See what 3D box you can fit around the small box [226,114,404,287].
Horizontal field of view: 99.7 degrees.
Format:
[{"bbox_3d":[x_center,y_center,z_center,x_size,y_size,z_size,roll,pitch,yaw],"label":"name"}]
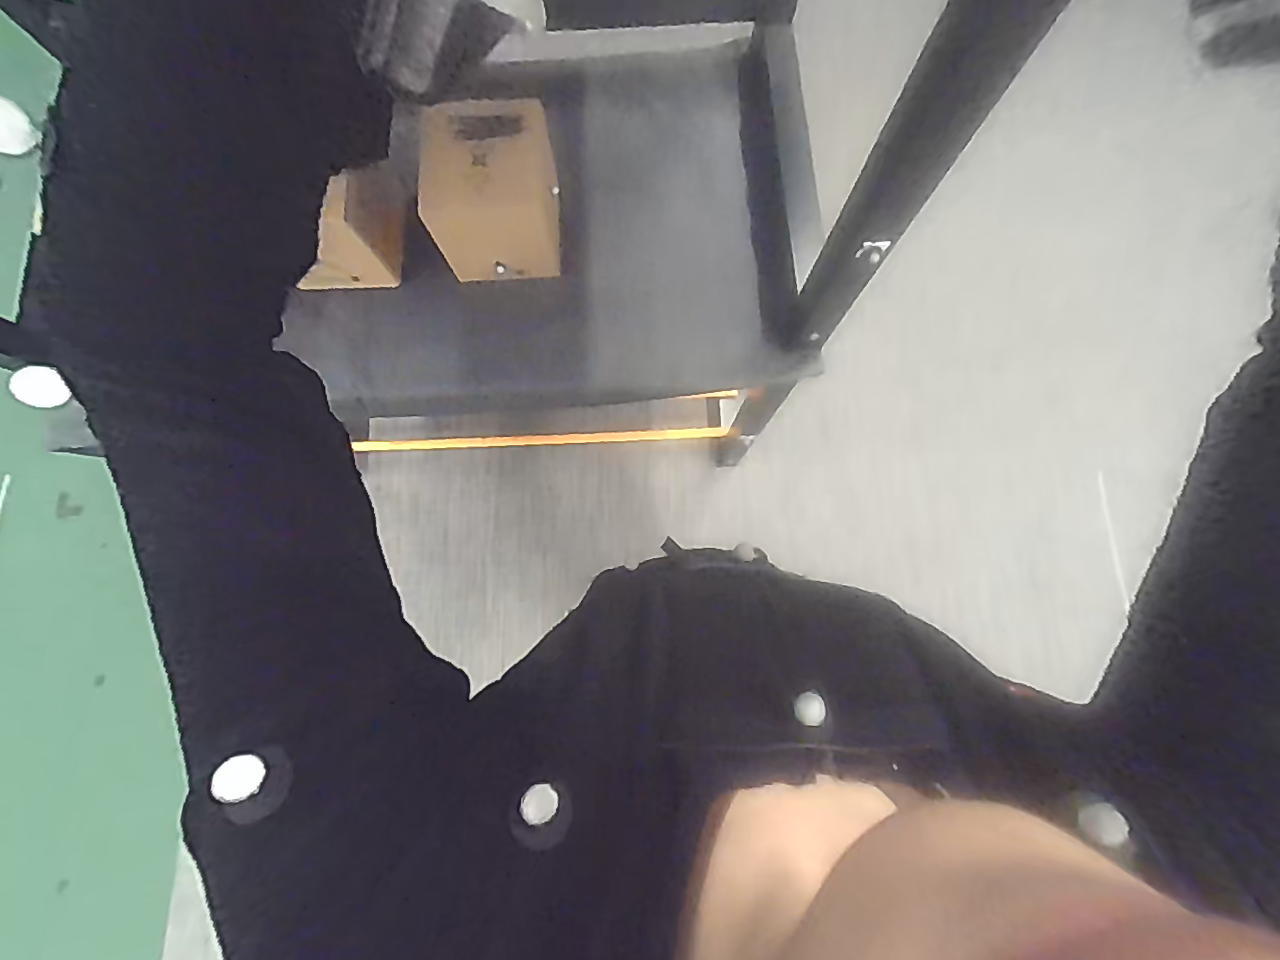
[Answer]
[{"bbox_3d":[-0.476,-0.409,0.818,0.168,0.176,0.179,-2,78,0],"label":"small box"}]
